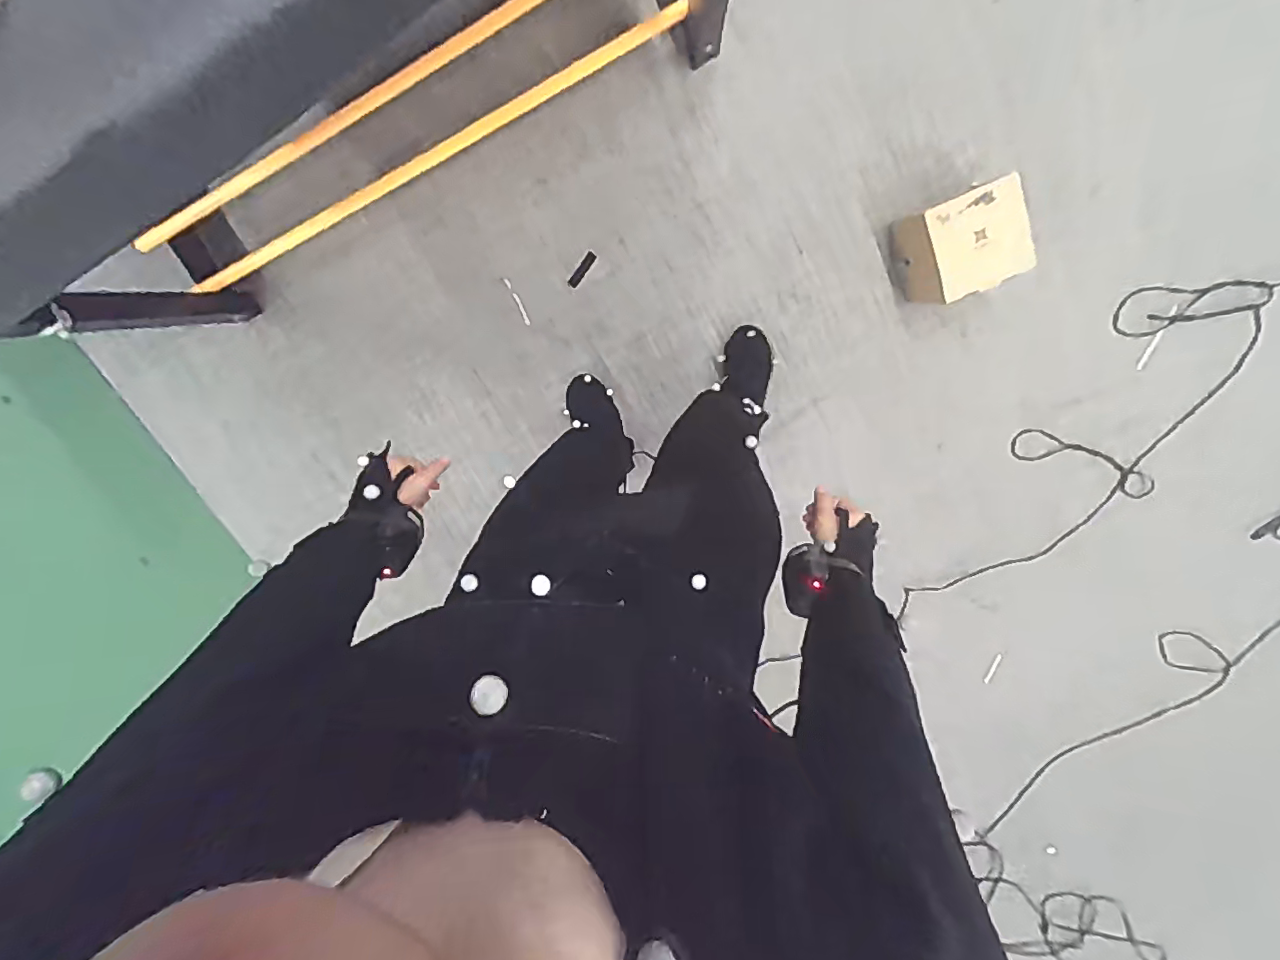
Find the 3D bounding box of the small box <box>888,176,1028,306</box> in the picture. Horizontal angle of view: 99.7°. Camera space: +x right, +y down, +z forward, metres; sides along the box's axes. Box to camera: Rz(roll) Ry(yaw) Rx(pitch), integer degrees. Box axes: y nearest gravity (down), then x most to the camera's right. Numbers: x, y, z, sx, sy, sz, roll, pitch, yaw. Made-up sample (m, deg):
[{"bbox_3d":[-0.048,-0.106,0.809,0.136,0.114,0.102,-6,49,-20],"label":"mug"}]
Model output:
[{"bbox_3d":[0.614,-0.460,1.059,0.168,0.176,0.179,-21,108,9],"label":"small box"}]
